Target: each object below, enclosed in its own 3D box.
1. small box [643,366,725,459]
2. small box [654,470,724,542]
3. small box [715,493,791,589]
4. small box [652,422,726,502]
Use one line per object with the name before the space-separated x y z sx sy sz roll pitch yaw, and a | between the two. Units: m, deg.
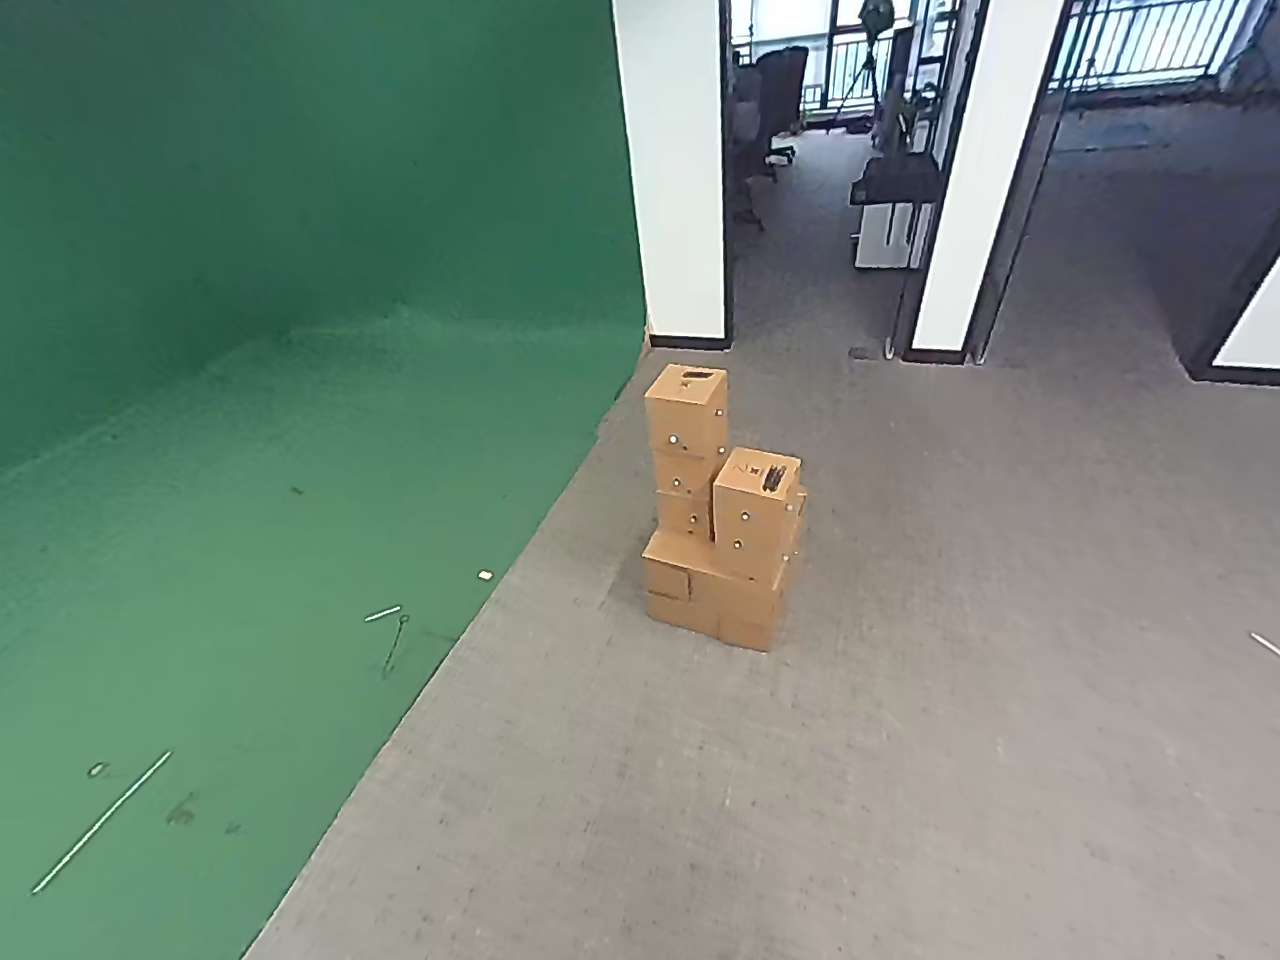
small box | 0.122 -0.181 1.445 0.168 0.176 0.179 11 43 22
small box | 0.157 0.065 1.658 0.168 0.176 0.179 11 41 22
small box | 0.312 0.167 1.499 0.168 0.176 0.179 12 42 23
small box | 0.145 -0.063 1.557 0.168 0.176 0.179 11 44 22
